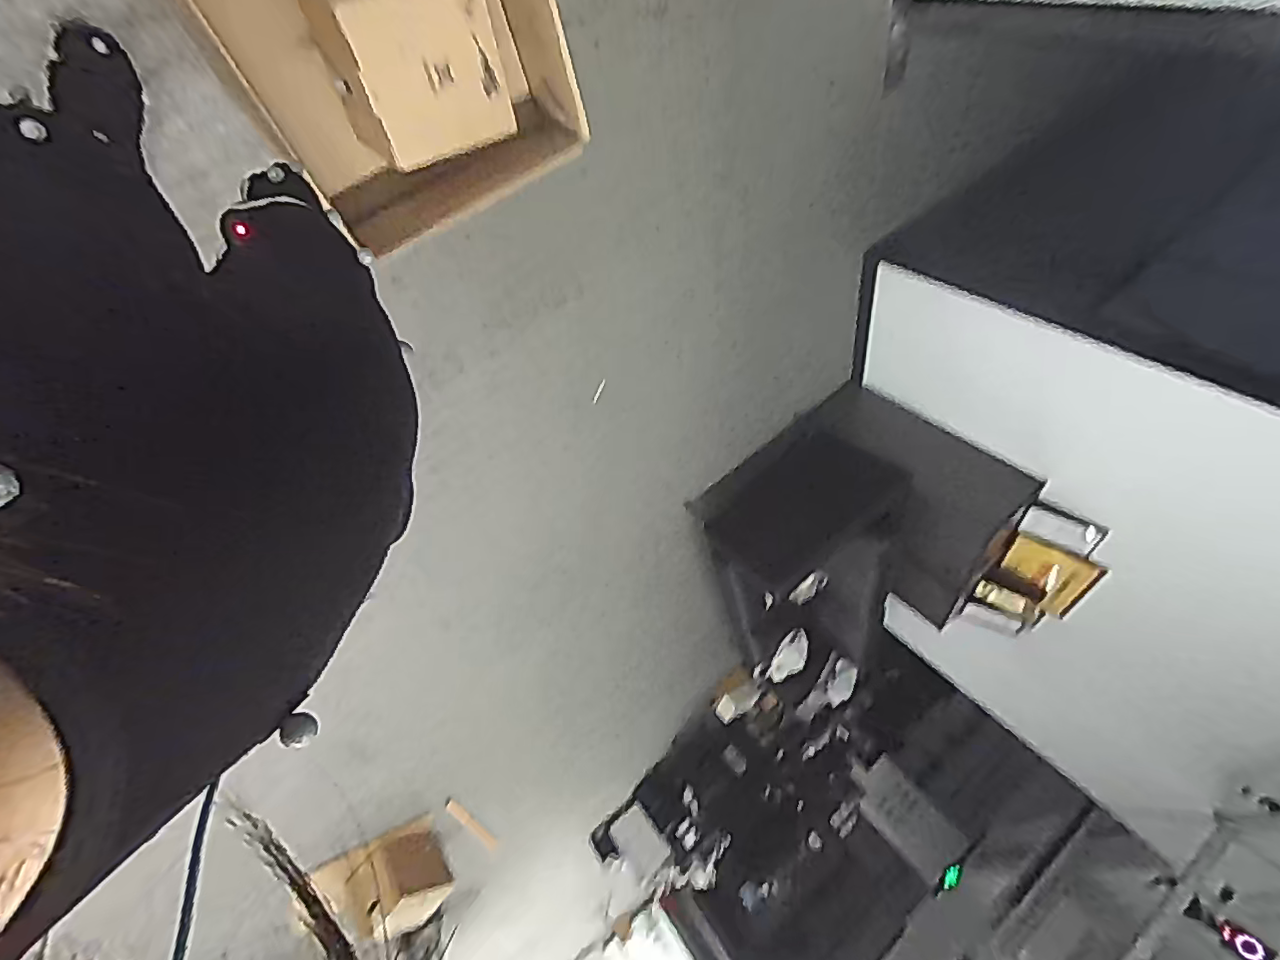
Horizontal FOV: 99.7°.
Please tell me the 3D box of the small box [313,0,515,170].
[{"bbox_3d":[-0.297,-0.536,0.708,0.179,0.176,0.168,-32,143,-19],"label":"small box"}]
